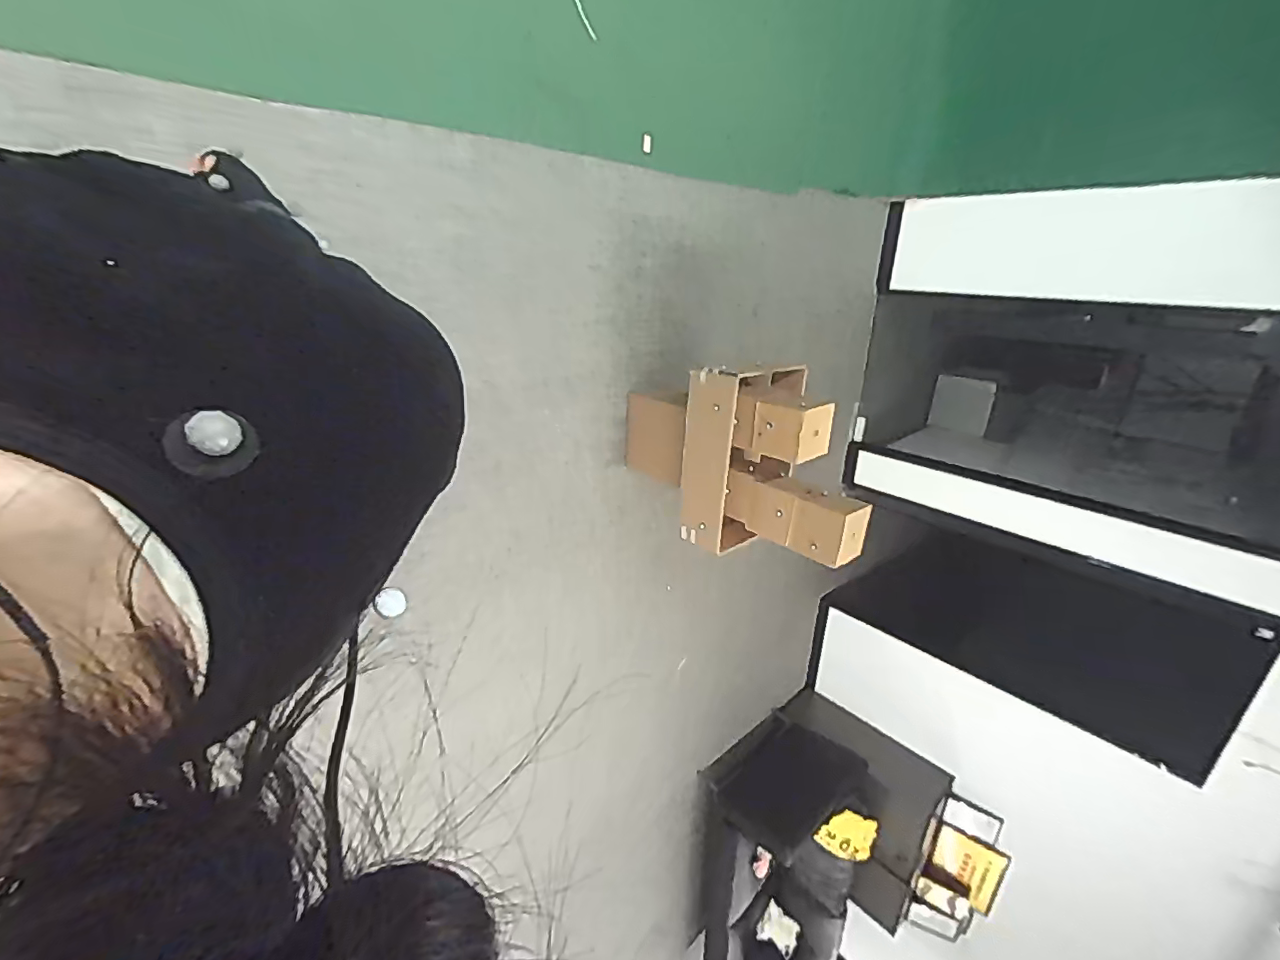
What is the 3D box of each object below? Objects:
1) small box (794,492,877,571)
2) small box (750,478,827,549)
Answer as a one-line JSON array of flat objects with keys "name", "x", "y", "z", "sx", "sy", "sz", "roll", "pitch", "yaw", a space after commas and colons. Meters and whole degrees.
[{"name": "small box", "x": 0.596, "y": 0.152, "z": 1.665, "sx": 0.168, "sy": 0.176, "sz": 0.179, "roll": -12, "pitch": 115, "yaw": -41}, {"name": "small box", "x": 0.481, "y": 0.101, "z": 1.769, "sx": 0.168, "sy": 0.176, "sz": 0.179, "roll": -11, "pitch": 115, "yaw": -41}]
